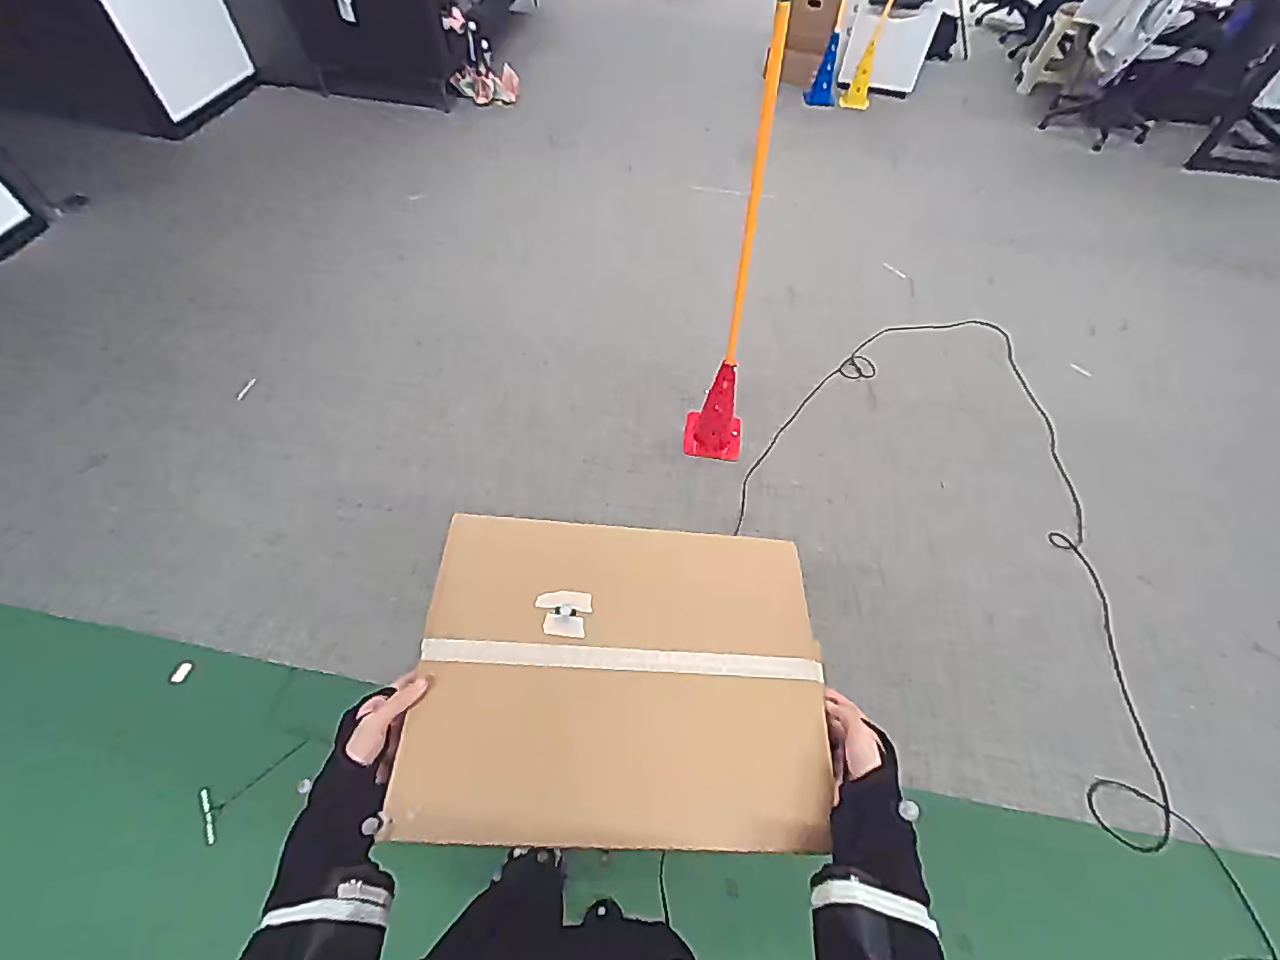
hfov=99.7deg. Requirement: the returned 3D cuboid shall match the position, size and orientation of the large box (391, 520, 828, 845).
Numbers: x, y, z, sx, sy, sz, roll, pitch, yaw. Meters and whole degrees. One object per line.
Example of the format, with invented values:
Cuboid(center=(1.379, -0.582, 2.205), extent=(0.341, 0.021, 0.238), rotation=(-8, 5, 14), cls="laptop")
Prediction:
Cuboid(center=(-0.033, 0.269, 0.690), extent=(0.408, 0.320, 0.320), rotation=(5, 56, -5), cls="large box")
